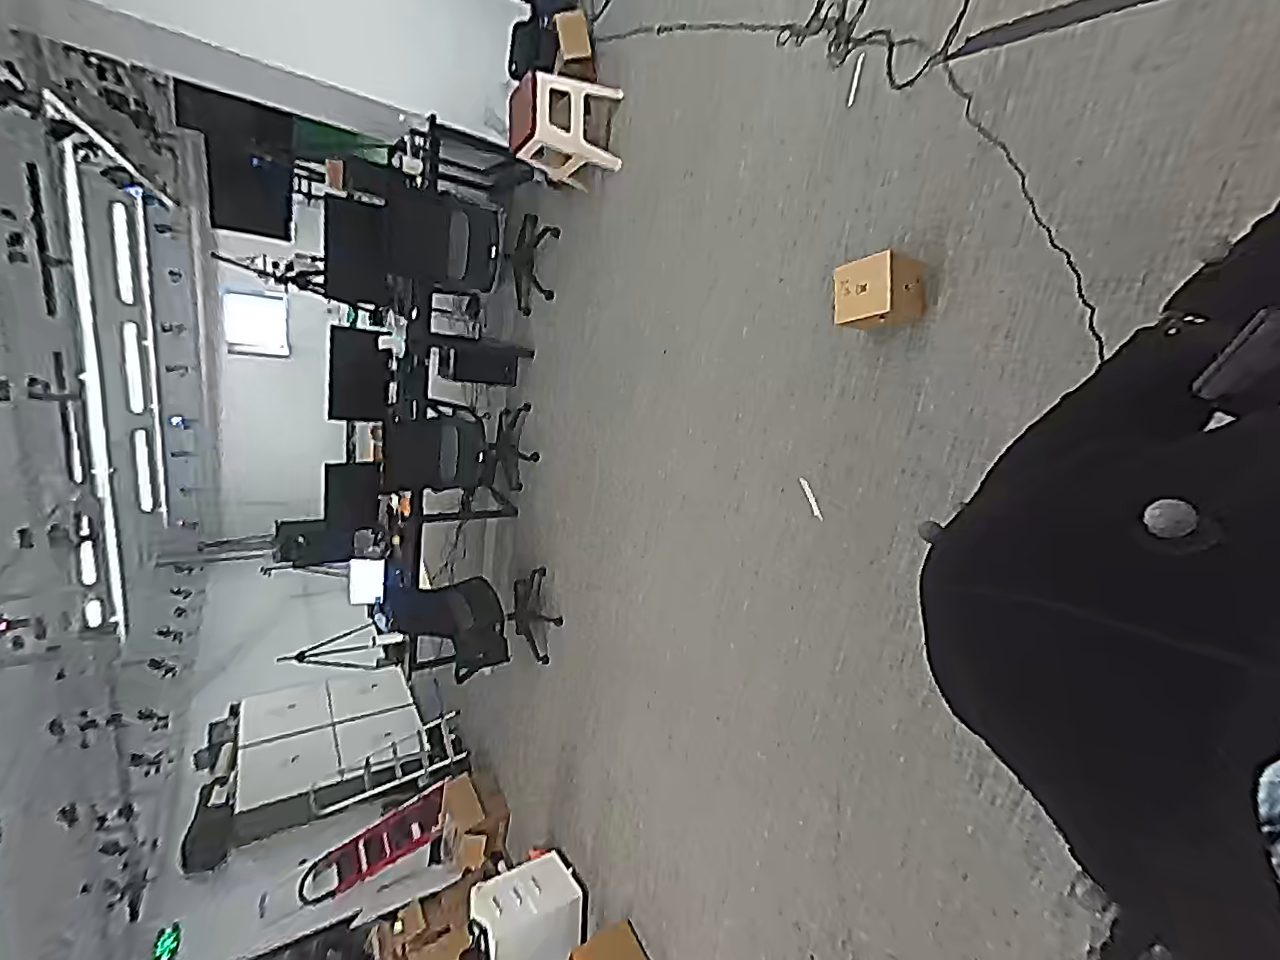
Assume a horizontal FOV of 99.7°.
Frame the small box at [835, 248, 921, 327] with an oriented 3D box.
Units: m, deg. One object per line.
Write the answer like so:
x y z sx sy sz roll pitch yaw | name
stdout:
0.684 -0.543 1.549 0.179 0.176 0.168 3 94 55 | small box
